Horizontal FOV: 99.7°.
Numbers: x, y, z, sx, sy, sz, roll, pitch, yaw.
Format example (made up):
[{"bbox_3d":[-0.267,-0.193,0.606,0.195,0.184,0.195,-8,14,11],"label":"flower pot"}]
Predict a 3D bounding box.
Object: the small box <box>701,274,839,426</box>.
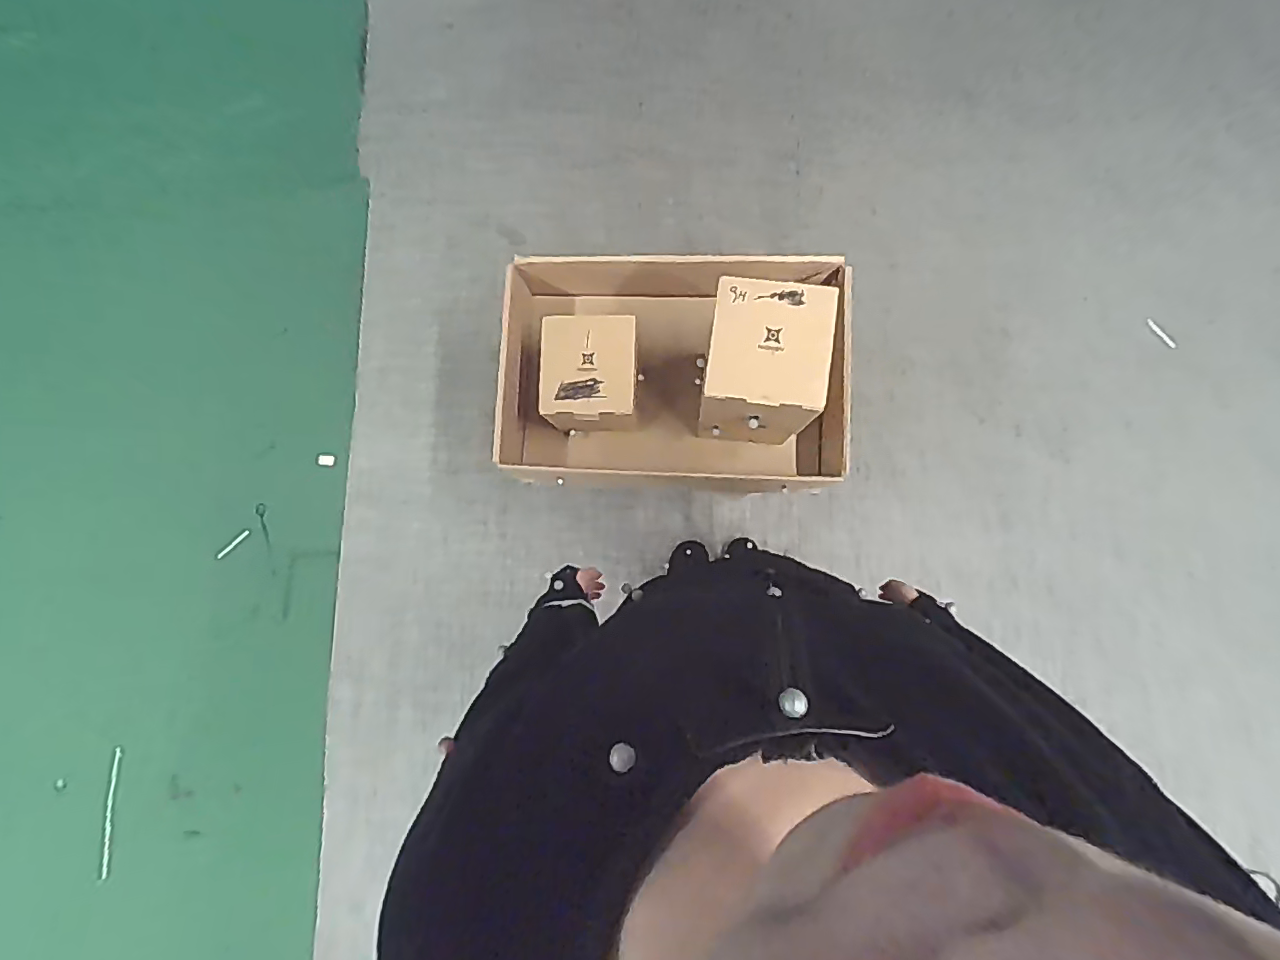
[{"bbox_3d":[0.186,-0.185,0.817,0.168,0.176,0.179,8,87,6],"label":"small box"}]
